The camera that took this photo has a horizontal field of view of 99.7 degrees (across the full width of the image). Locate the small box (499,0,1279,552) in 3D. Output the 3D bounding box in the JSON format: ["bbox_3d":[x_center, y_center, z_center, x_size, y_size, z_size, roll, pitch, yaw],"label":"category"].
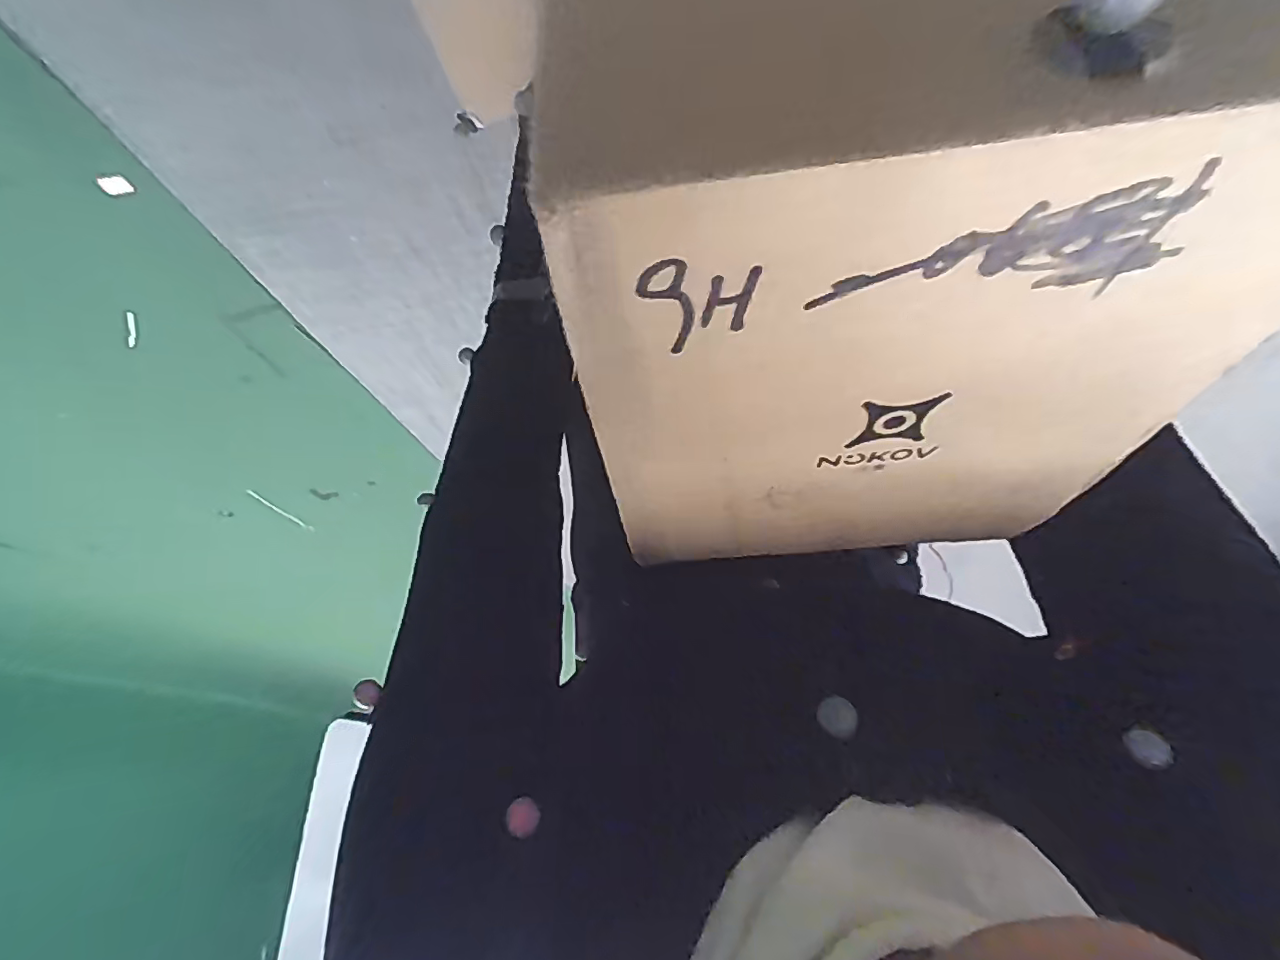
[{"bbox_3d":[0.060,-0.085,0.203,0.168,0.176,0.179,-5,151,4],"label":"small box"}]
